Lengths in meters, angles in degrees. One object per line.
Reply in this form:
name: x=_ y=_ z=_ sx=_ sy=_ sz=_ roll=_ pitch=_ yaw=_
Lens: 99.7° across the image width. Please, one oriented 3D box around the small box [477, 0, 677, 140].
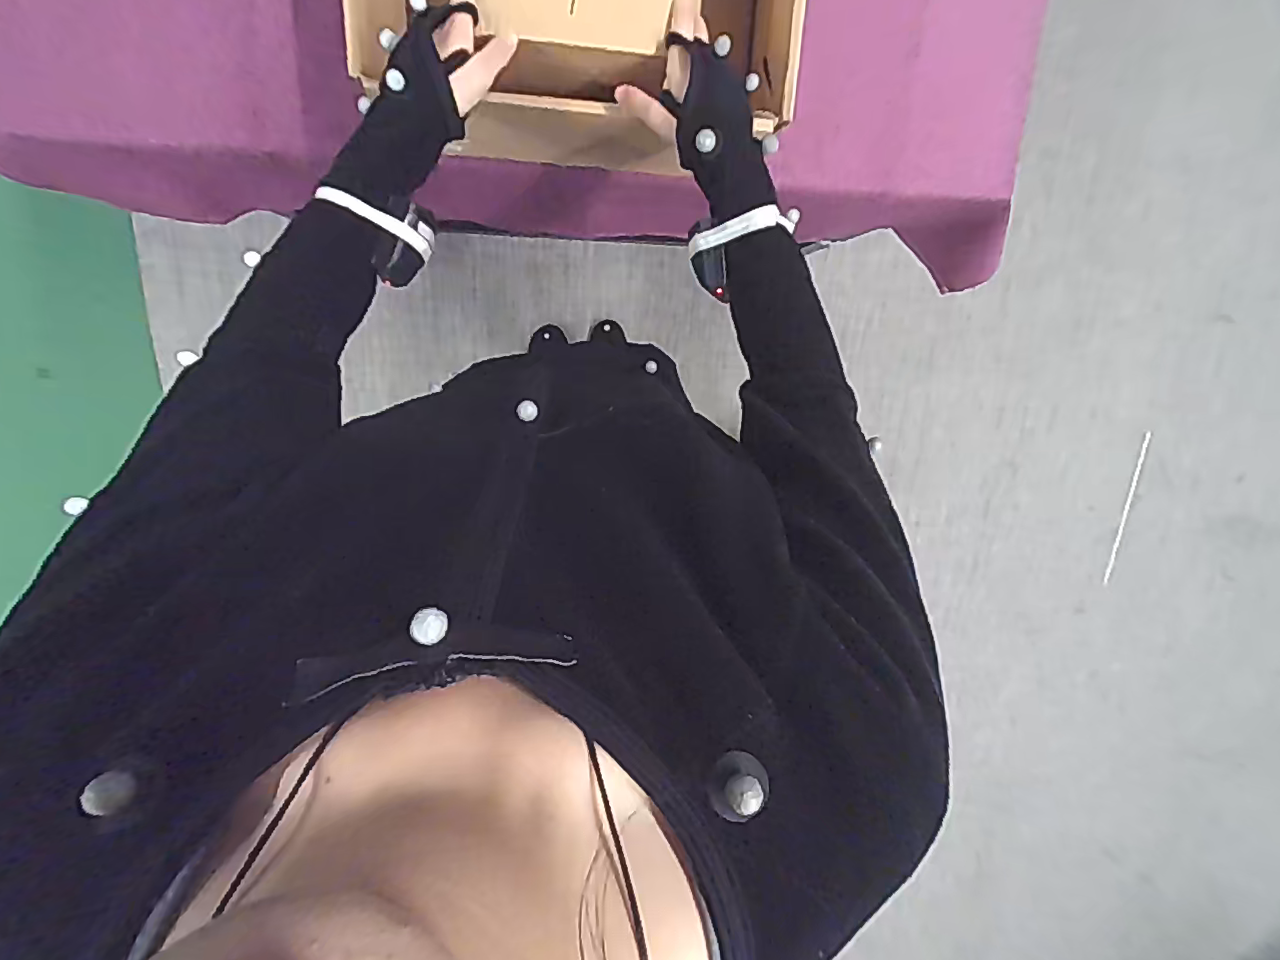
small box: x=-0.054 y=-0.457 z=0.512 sx=0.168 sy=0.176 sz=0.179 roll=3 pitch=104 yaw=-5
